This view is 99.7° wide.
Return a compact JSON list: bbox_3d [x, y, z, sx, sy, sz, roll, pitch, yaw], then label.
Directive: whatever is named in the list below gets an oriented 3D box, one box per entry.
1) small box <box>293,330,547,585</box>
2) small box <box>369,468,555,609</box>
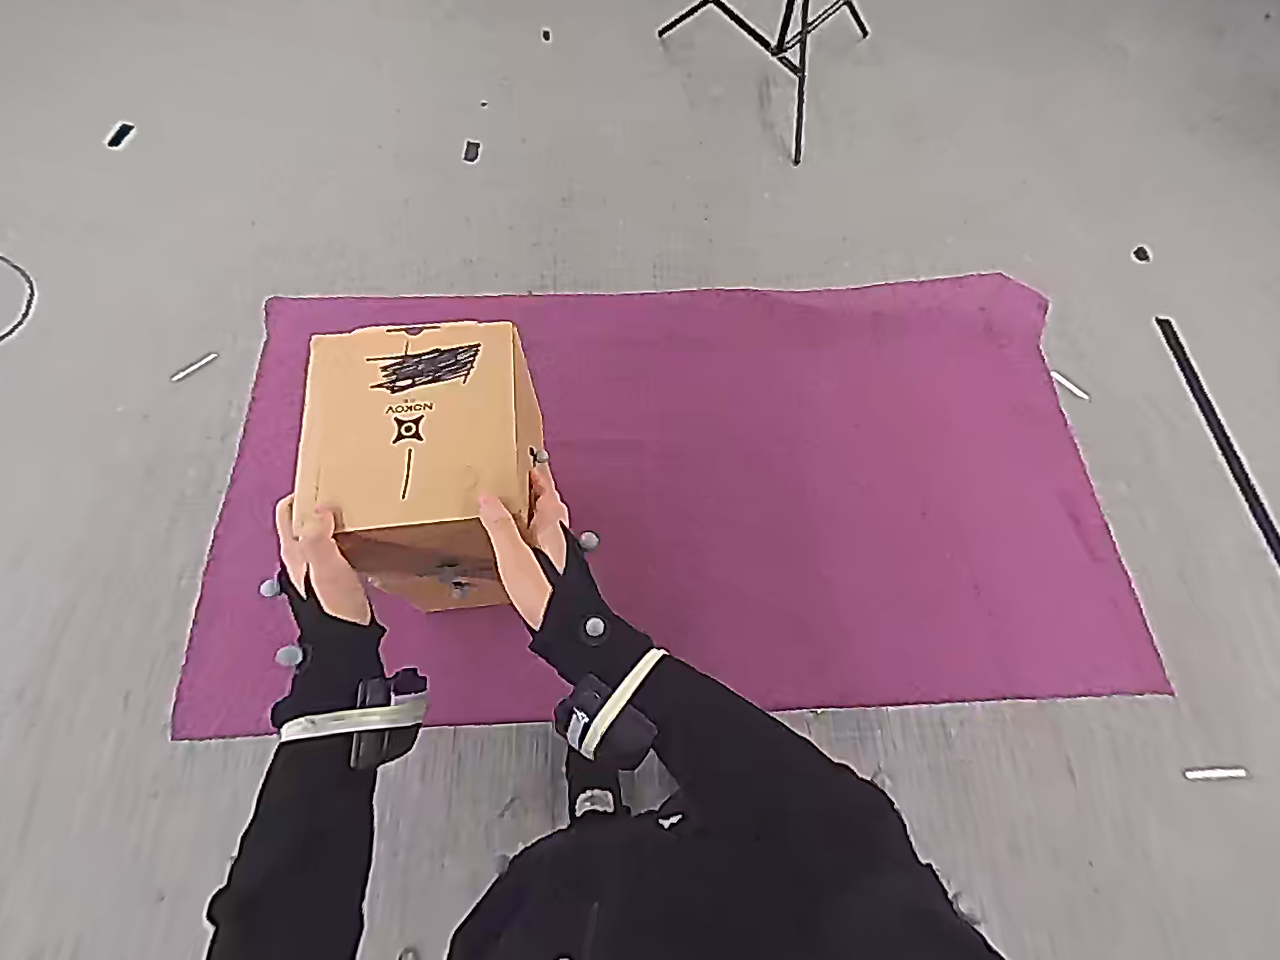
[{"bbox_3d":[-0.180,-0.012,0.499,0.168,0.176,0.179,-6,68,-4],"label":"small box"},{"bbox_3d":[-0.196,0.055,0.649,0.179,0.176,0.168,-5,68,-4],"label":"small box"}]
